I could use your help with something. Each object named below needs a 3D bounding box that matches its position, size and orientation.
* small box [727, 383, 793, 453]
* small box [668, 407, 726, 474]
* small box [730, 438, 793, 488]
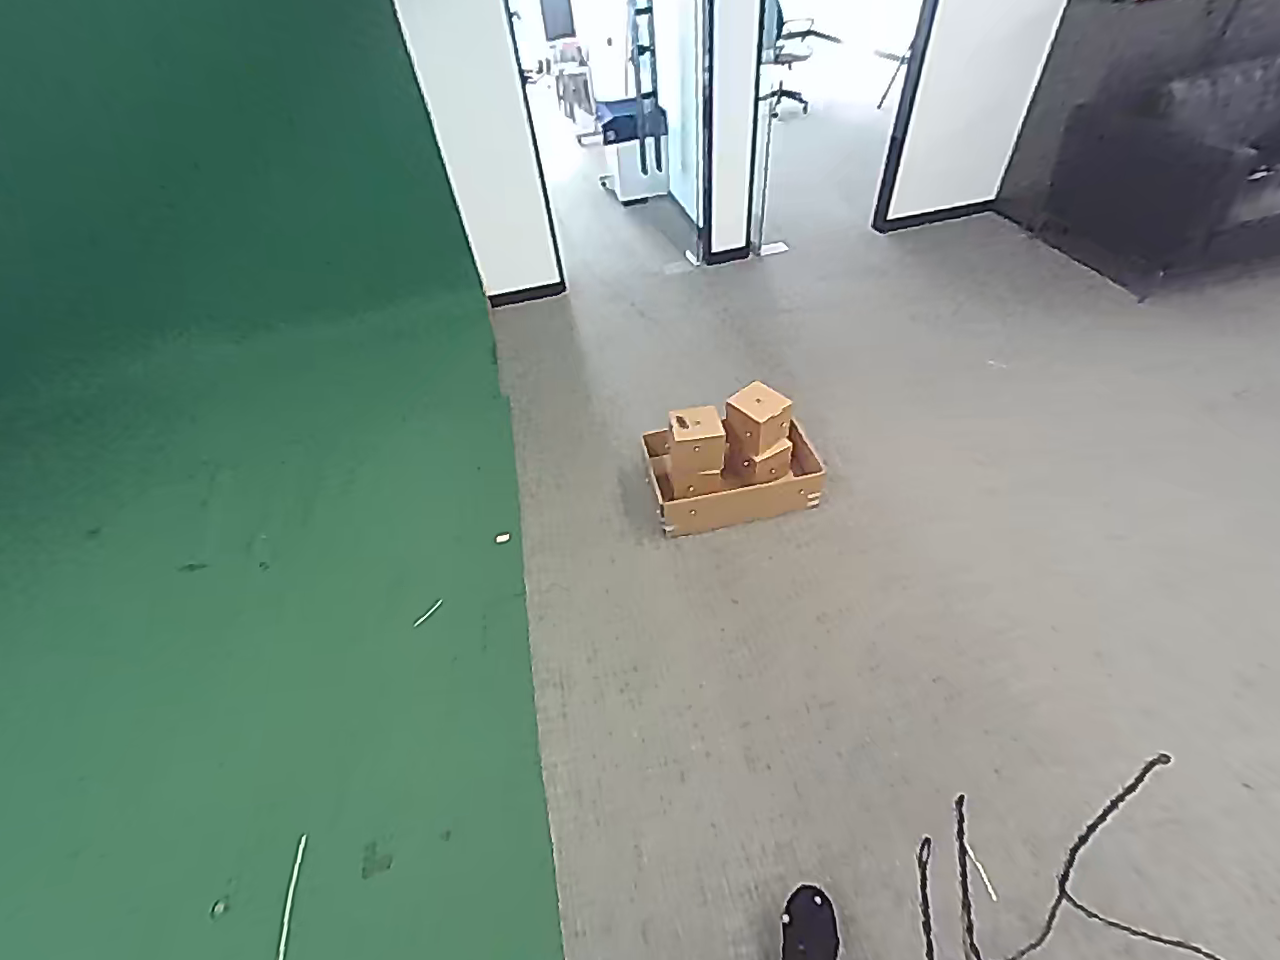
[{"bbox_3d":[0.436,-0.221,1.985,0.168,0.176,0.179,-32,51,-22],"label":"small box"},{"bbox_3d":[0.202,-0.138,1.931,0.179,0.176,0.168,-8,46,-3],"label":"small box"},{"bbox_3d":[0.464,-0.091,2.083,0.168,0.176,0.179,-24,49,-15],"label":"small box"}]
